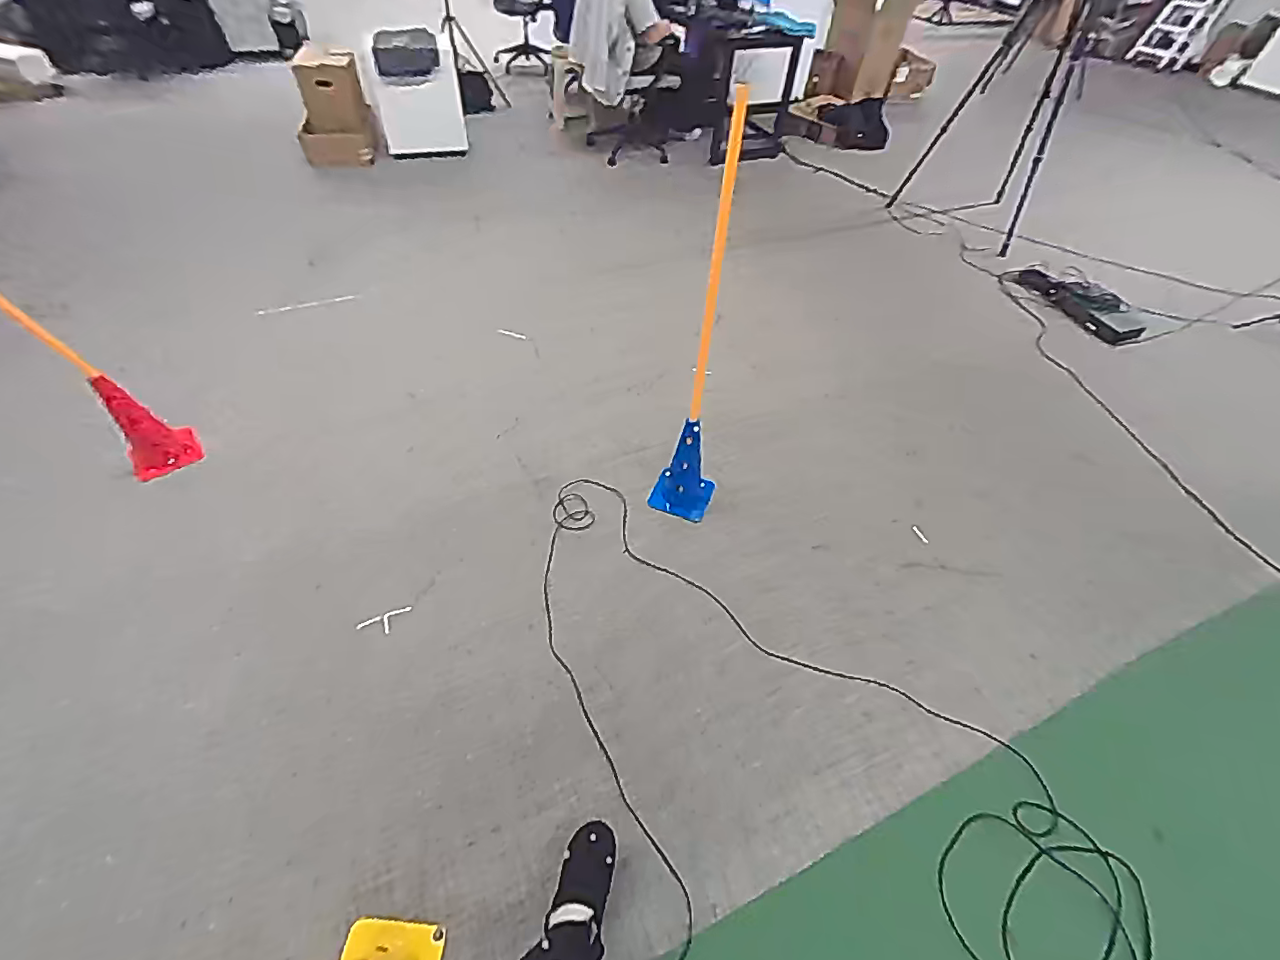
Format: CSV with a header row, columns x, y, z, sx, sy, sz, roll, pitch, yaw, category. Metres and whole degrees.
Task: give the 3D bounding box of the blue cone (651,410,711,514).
x,y,z,sx,sy,sz,roll,pitch,yaw,category
0.155,-0.078,1.786,0.192,0.380,0.193,17,49,11,blue cone
